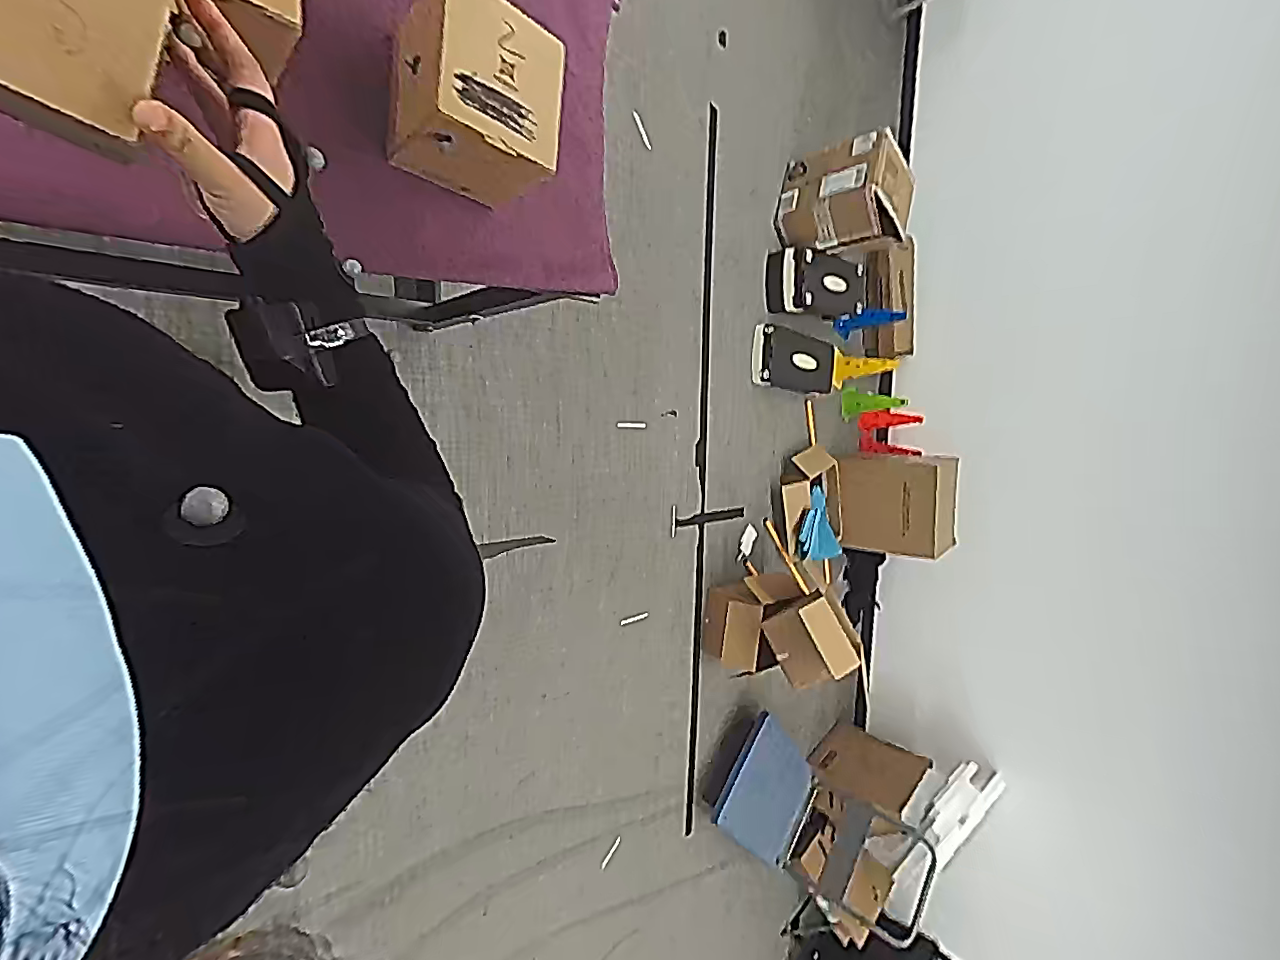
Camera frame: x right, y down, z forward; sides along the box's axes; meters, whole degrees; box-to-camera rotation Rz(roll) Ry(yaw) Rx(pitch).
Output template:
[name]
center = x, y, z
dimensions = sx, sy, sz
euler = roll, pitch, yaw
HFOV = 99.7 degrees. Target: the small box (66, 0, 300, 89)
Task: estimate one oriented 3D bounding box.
[small box]
center = -0.440, -0.528, 0.514
dimensions = 0.168, 0.176, 0.179
euler = -3, 98, -45
